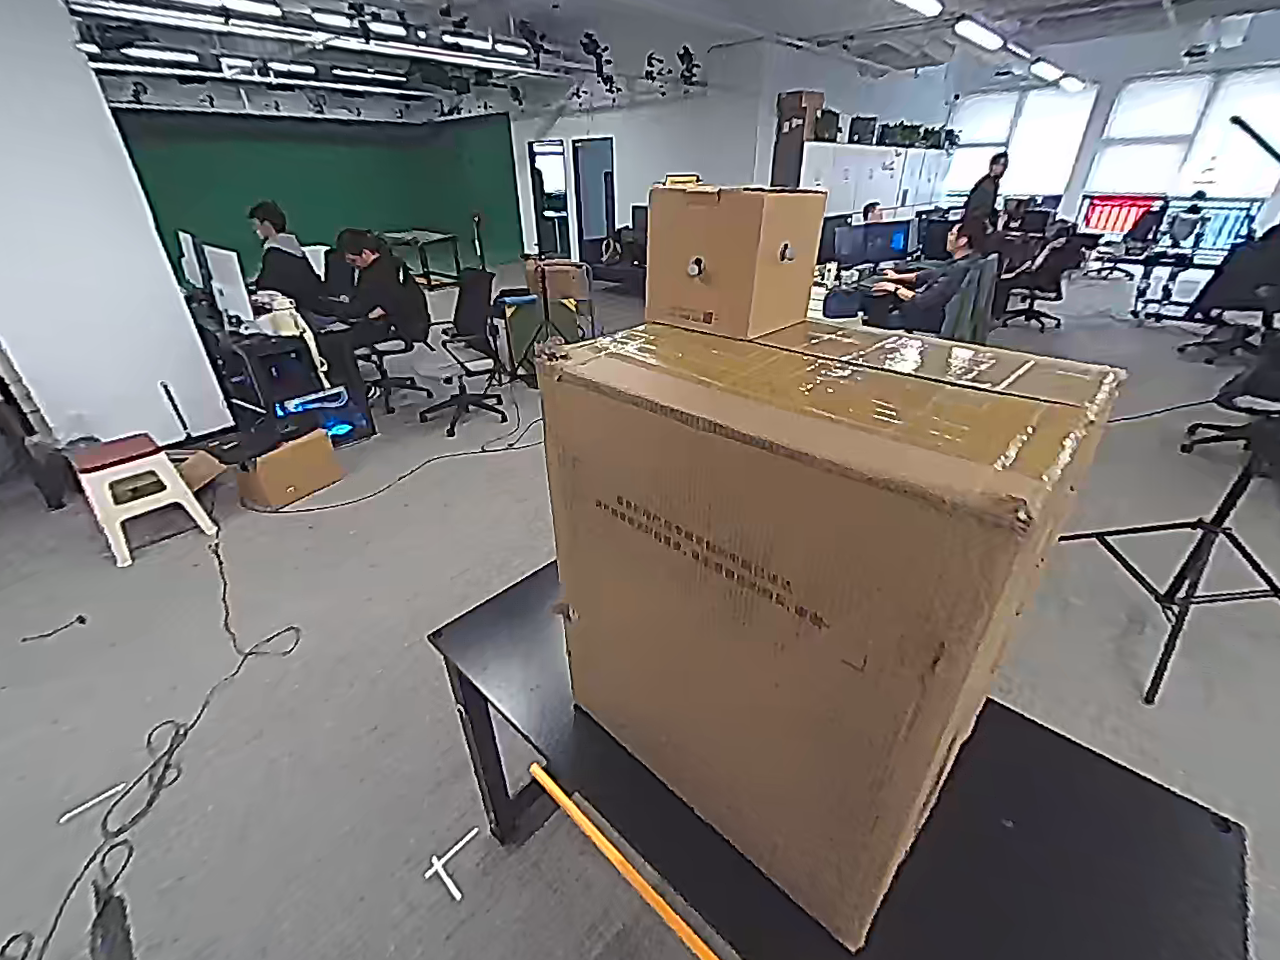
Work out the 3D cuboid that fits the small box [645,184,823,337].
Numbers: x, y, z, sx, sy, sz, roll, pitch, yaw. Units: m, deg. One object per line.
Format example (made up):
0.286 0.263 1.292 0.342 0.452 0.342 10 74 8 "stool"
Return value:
0.123 -0.298 0.724 0.168 0.176 0.179 22 35 33 "small box"
